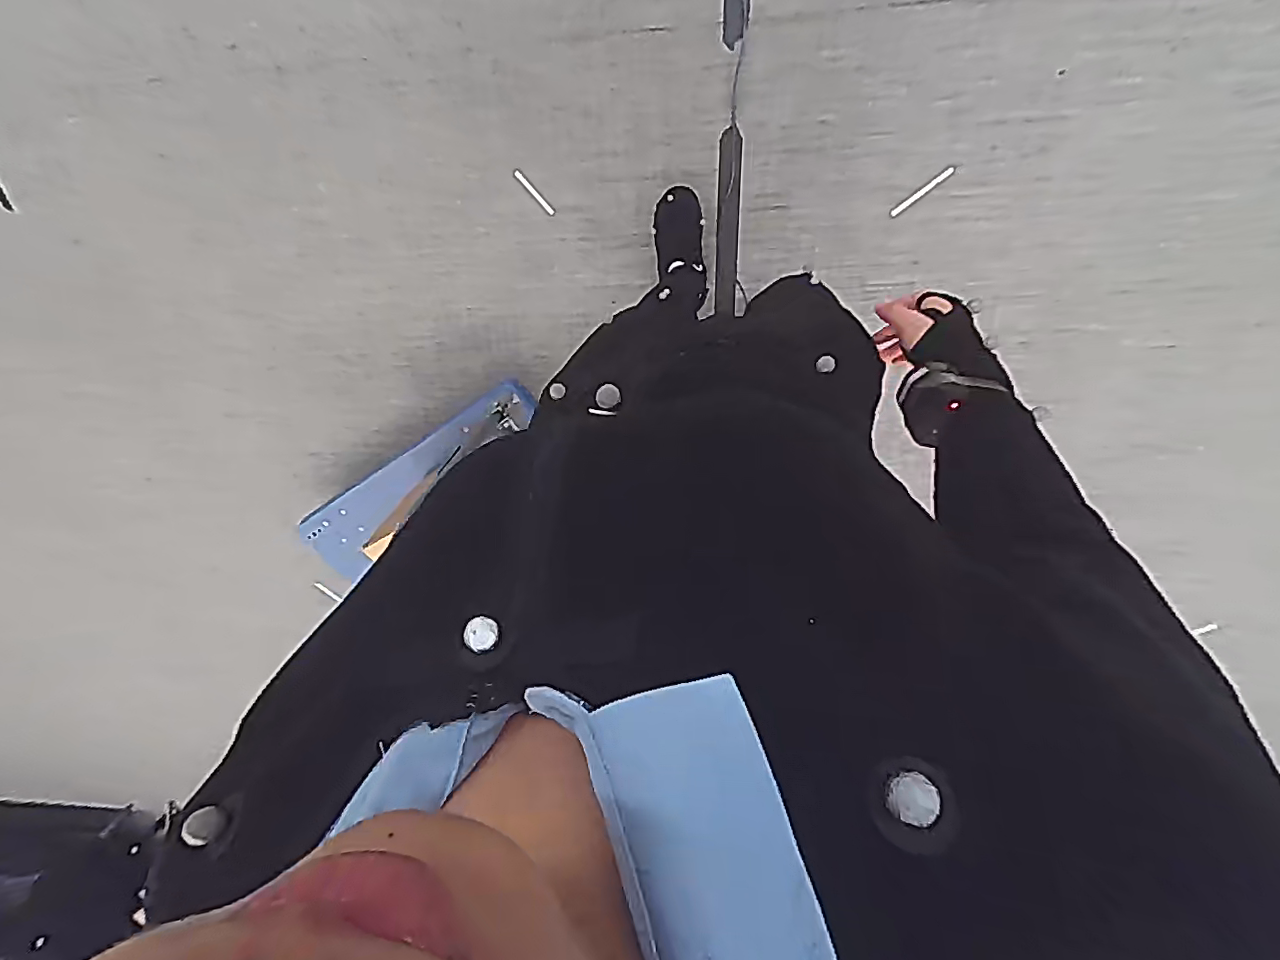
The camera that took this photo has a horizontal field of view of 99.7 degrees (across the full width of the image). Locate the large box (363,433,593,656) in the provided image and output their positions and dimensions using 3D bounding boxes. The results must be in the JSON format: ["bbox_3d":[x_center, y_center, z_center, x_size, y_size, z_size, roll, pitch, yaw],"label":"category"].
[{"bbox_3d":[-0.378,0.161,1.368,0.320,0.320,0.408,-29,112,20],"label":"large box"}]
